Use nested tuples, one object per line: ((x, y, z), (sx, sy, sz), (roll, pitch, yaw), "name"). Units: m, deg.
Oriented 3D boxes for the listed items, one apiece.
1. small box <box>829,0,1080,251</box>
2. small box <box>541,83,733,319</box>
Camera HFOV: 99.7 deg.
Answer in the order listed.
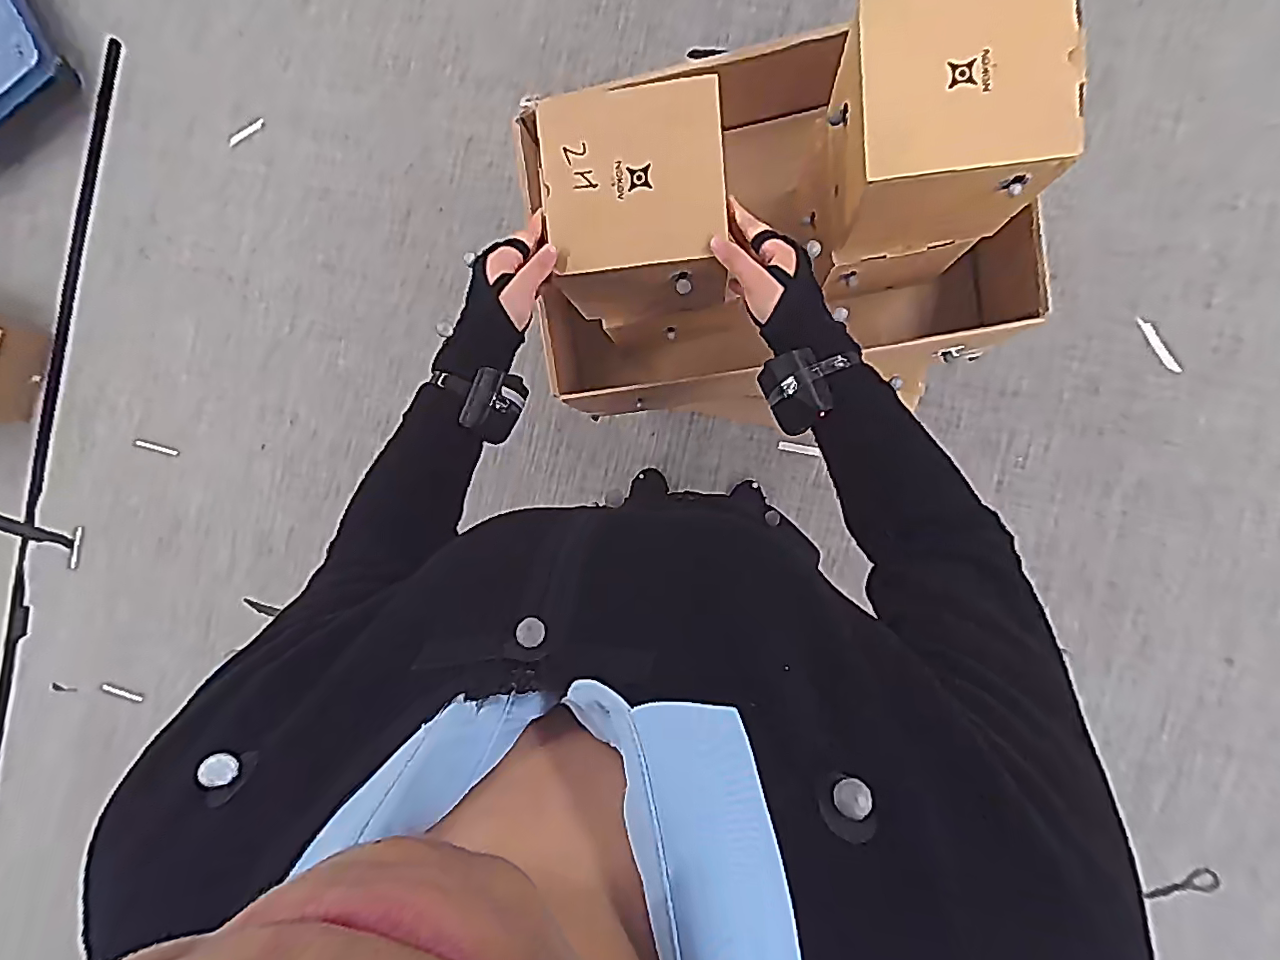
((0.293, -0.348, 0.546), (0.179, 0.176, 0.168), (-3, 91, 9), "small box")
((0.005, -0.282, 0.588), (0.179, 0.176, 0.168), (-4, 92, 8), "small box")
